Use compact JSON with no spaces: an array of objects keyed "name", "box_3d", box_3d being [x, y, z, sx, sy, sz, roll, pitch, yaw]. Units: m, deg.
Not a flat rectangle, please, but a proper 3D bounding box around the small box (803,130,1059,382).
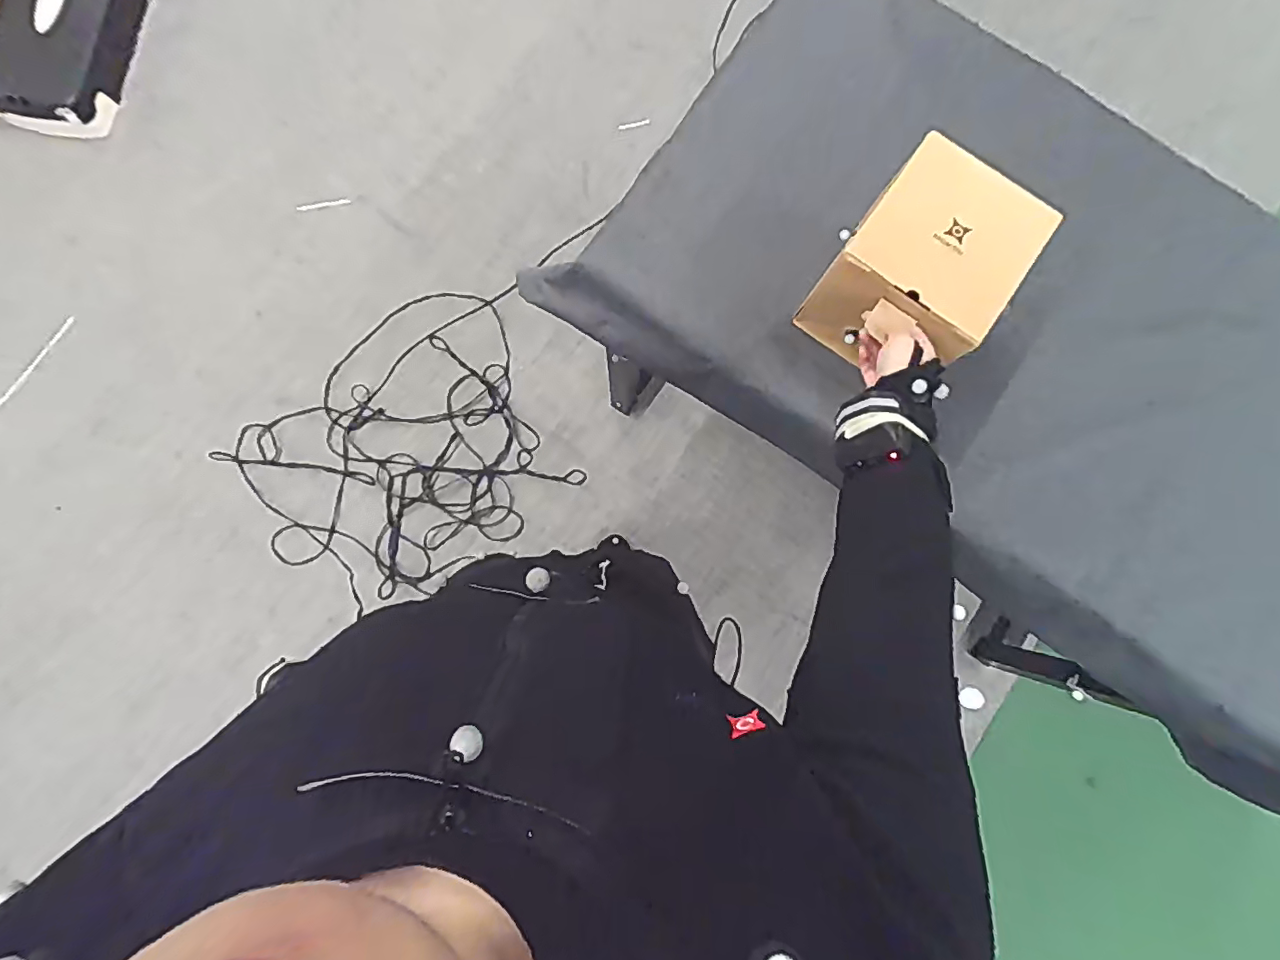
[{"name":"small box","box_3d":[0.322,-0.246,0.637,0.168,0.176,0.179,35,83,1]}]
